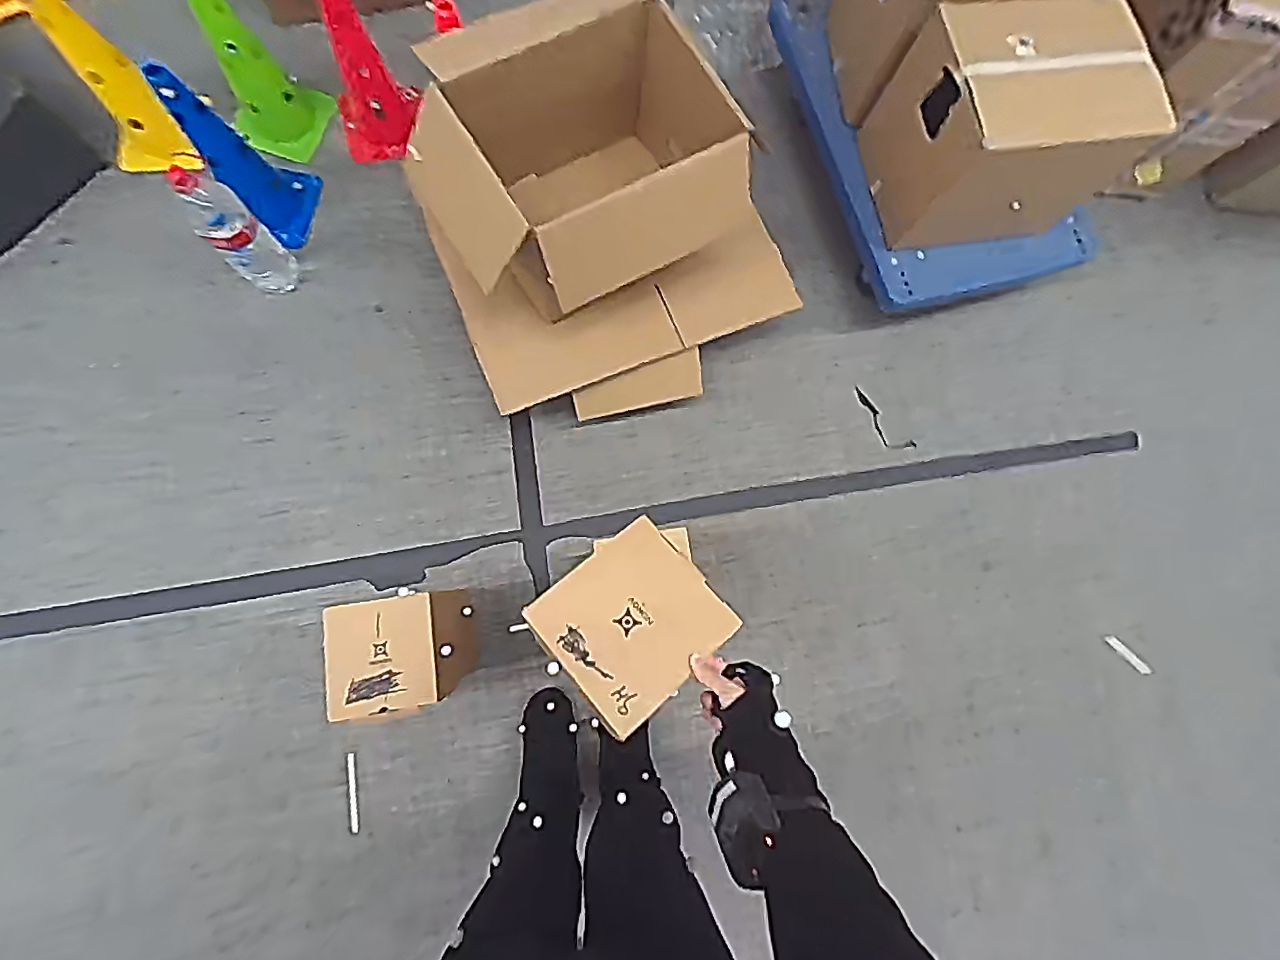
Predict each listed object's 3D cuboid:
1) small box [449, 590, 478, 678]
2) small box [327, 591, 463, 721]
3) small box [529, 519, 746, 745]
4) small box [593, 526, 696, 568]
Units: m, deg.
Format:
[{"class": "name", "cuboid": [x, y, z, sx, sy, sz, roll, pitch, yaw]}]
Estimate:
[{"class": "small box", "cuboid": [-0.432, 0.318, 1.085, 0.179, 0.176, 0.168, -11, 80, -7]}, {"class": "small box", "cuboid": [-0.409, 0.289, 0.925, 0.168, 0.176, 0.179, -8, 79, -7]}, {"class": "small box", "cuboid": [-0.011, 0.180, 0.639, 0.179, 0.176, 0.168, -39, 76, -20]}, {"class": "small box", "cuboid": [0.008, 0.189, 0.989, 0.168, 0.176, 0.179, -8, 82, -9]}]
